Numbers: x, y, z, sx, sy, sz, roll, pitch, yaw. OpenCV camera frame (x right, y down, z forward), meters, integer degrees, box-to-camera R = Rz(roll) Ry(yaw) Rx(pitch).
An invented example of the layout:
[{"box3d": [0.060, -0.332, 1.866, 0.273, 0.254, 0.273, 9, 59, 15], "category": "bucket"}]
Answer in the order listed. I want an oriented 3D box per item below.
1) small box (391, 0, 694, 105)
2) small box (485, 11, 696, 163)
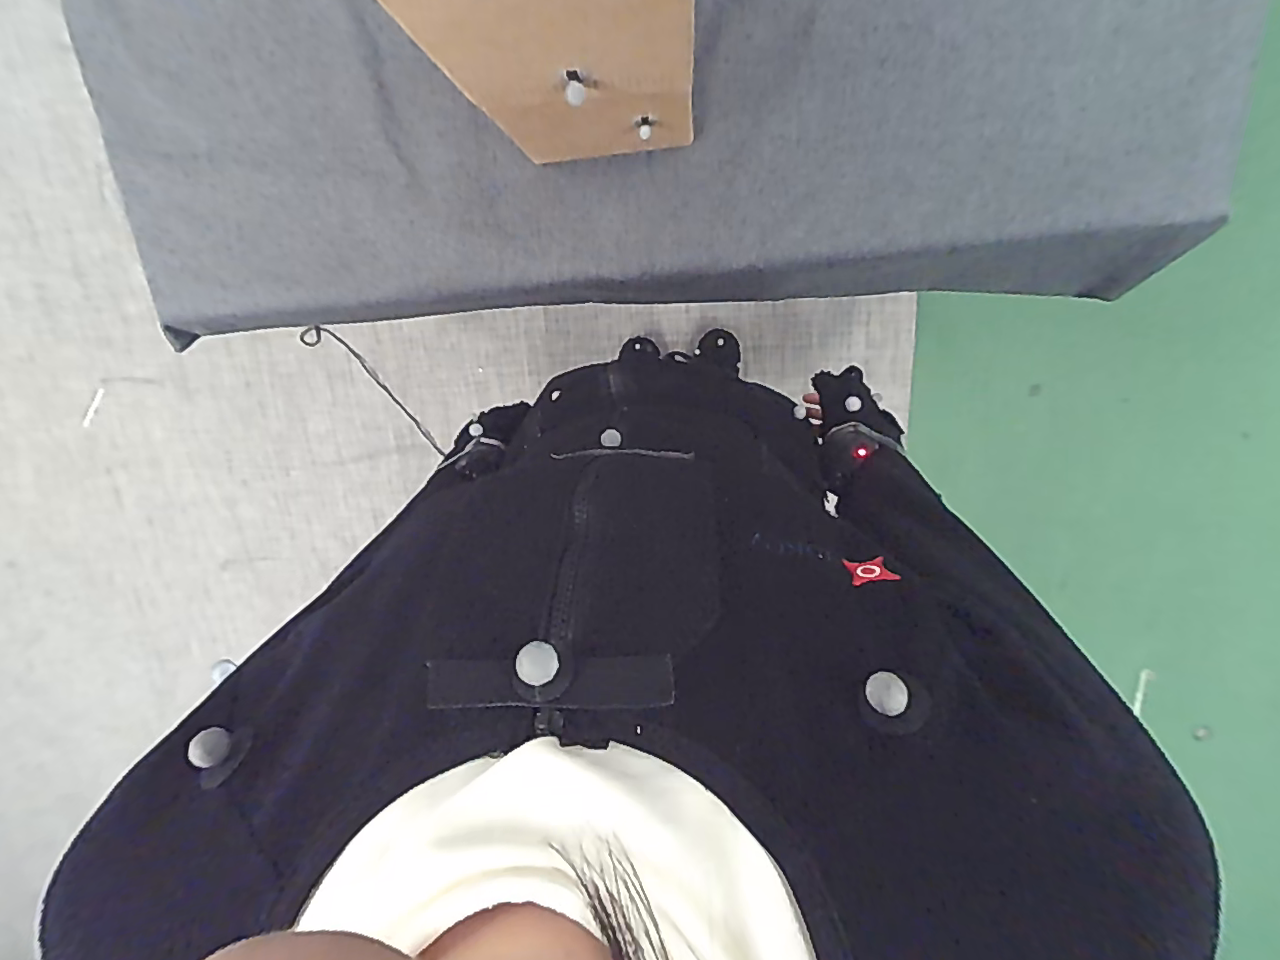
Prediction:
[{"box3d": [-0.055, -0.366, 0.338, 0.179, 0.176, 0.168, -2, 105, 5], "category": "small box"}, {"box3d": [-0.041, -0.413, 0.494, 0.179, 0.176, 0.168, -4, 104, 8], "category": "small box"}]
